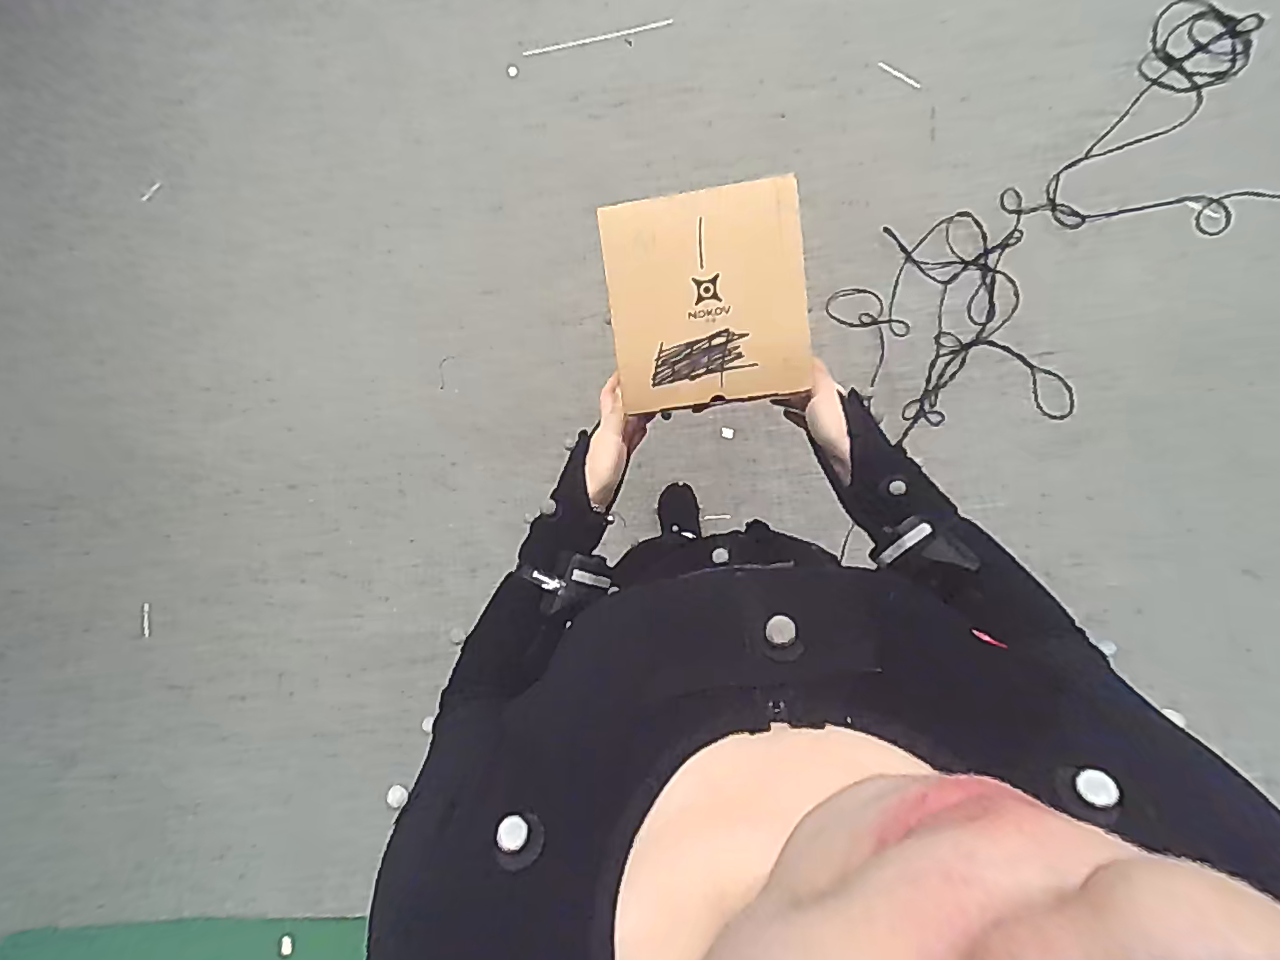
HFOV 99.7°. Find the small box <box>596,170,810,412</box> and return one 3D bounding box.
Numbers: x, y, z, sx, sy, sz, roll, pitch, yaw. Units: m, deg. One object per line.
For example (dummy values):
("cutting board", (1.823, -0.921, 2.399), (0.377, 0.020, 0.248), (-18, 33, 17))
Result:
("small box", (0.061, -0.167, 0.527), (0.168, 0.176, 0.179), (-7, 99, 6))
